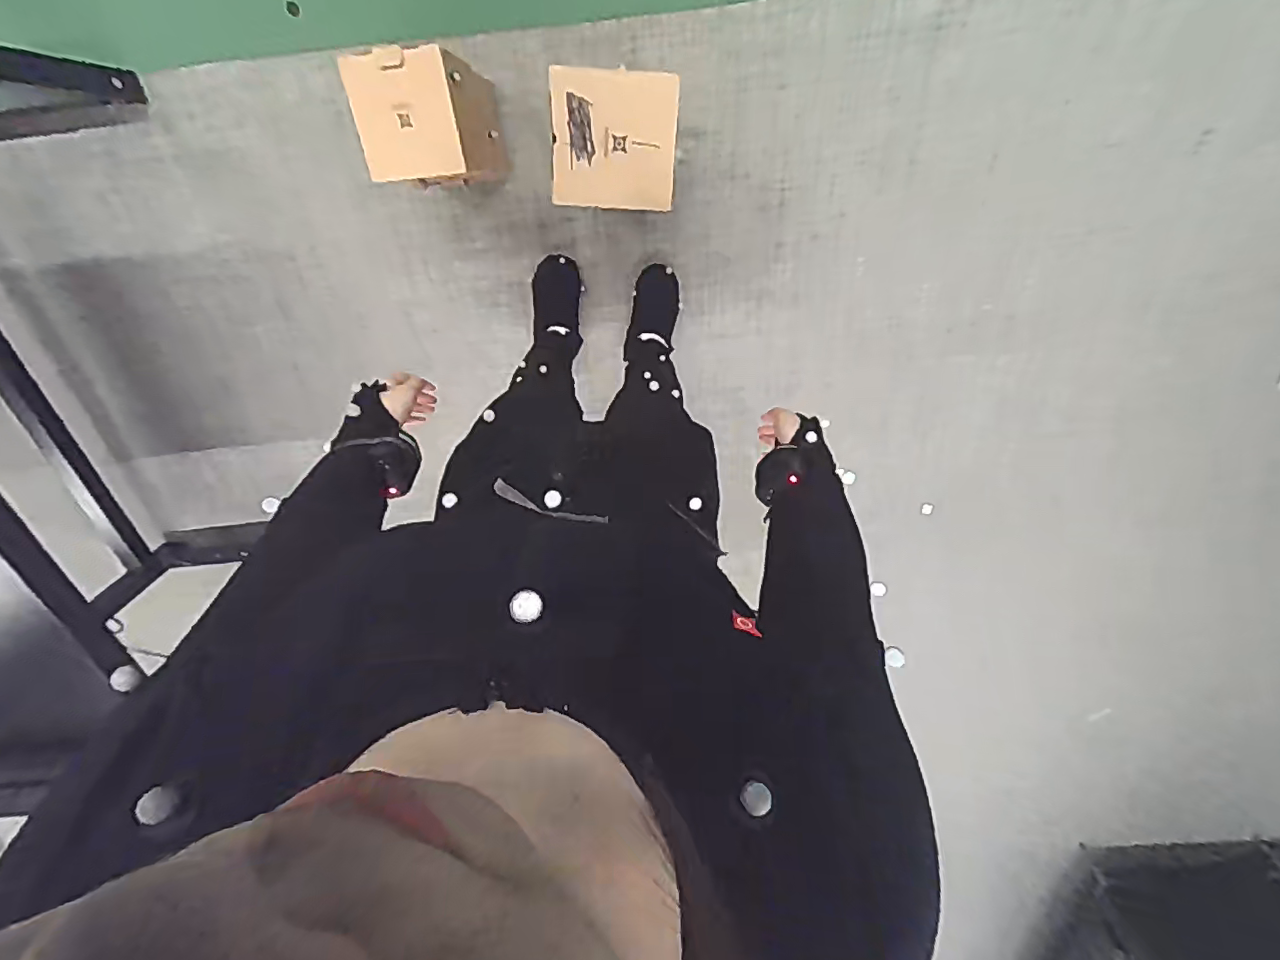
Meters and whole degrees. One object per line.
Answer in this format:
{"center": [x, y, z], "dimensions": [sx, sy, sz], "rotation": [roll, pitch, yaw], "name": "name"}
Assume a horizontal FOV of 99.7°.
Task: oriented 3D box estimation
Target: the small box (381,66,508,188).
{"center": [-0.374, -0.694, 1.073], "dimensions": [0.168, 0.176, 0.179], "rotation": [-7, 121, 4], "name": "small box"}

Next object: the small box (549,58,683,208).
{"center": [-0.035, -0.505, 0.803], "dimensions": [0.179, 0.176, 0.168], "rotation": [2, 120, -2], "name": "small box"}
